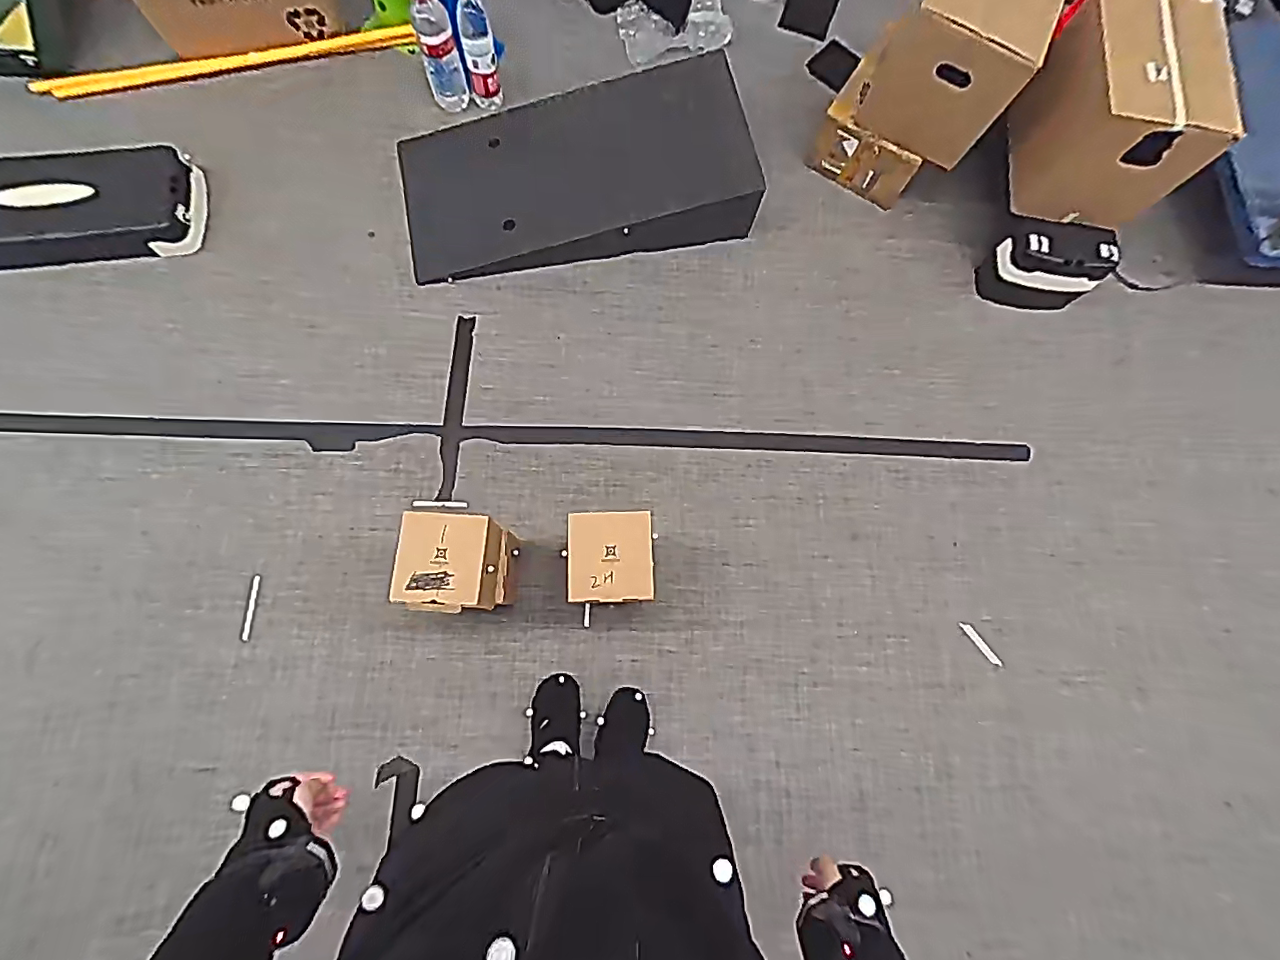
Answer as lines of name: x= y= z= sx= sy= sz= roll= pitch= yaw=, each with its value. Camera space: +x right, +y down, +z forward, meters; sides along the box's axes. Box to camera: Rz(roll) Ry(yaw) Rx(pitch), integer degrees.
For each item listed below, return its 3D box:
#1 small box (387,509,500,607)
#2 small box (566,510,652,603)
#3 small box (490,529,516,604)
small box: x=-0.388 y=0.165 z=1.102 sx=0.168 sy=0.176 sz=0.179 roll=5 pitch=74 yaw=-4
small box: x=-0.065 y=0.164 z=1.123 sx=0.168 sy=0.176 sz=0.179 roll=-1 pitch=76 yaw=-3
small box: x=-0.391 y=0.202 z=1.261 sx=0.179 sy=0.176 sz=0.168 roll=2 pitch=76 yaw=-4
